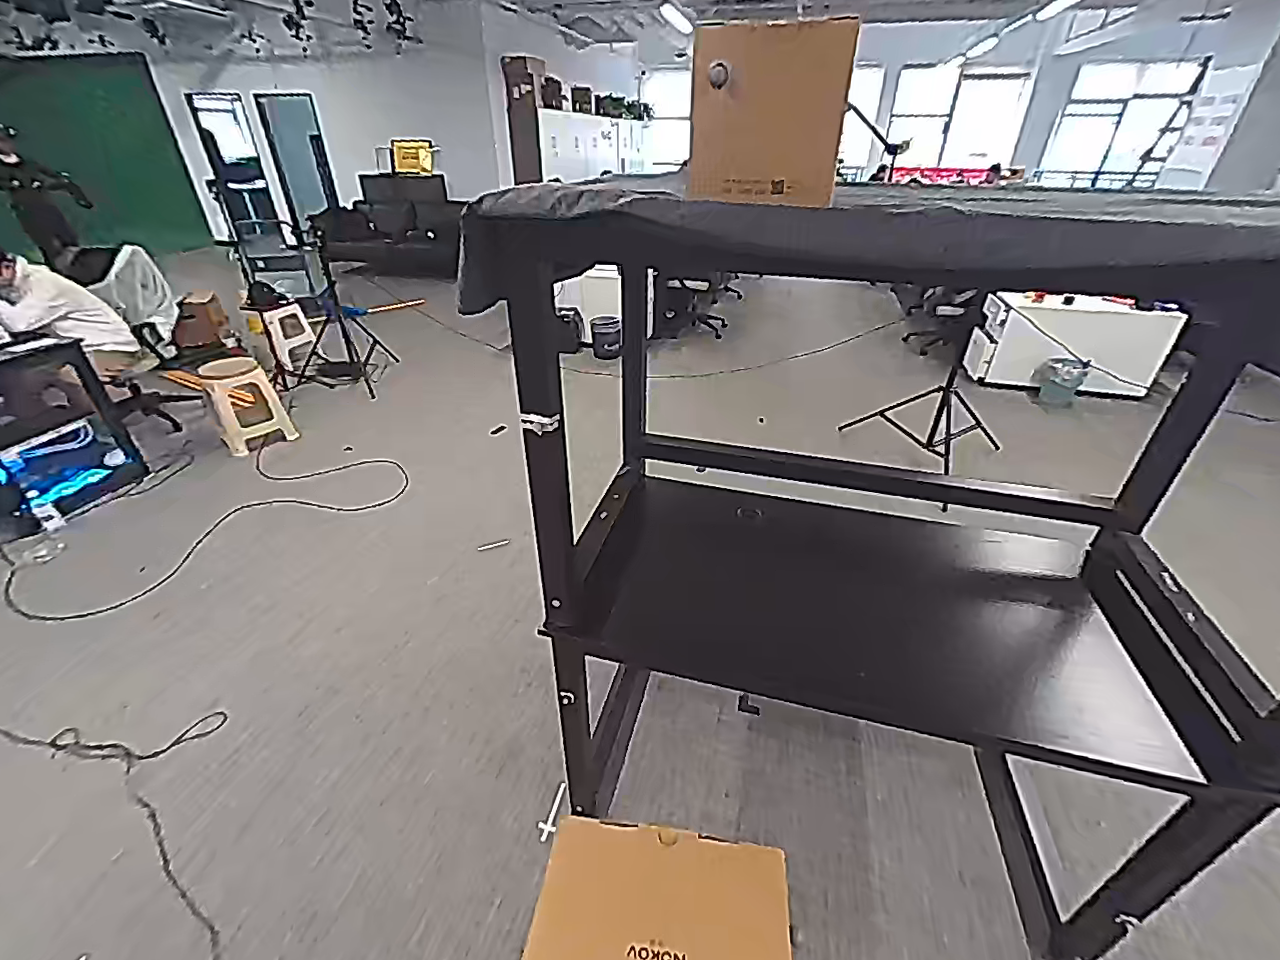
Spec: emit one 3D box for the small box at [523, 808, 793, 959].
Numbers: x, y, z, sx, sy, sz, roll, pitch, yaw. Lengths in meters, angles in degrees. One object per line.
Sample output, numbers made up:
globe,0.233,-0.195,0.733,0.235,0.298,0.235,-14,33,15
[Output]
small box,0.012,0.363,0.362,0.168,0.176,0.179,4,30,7
